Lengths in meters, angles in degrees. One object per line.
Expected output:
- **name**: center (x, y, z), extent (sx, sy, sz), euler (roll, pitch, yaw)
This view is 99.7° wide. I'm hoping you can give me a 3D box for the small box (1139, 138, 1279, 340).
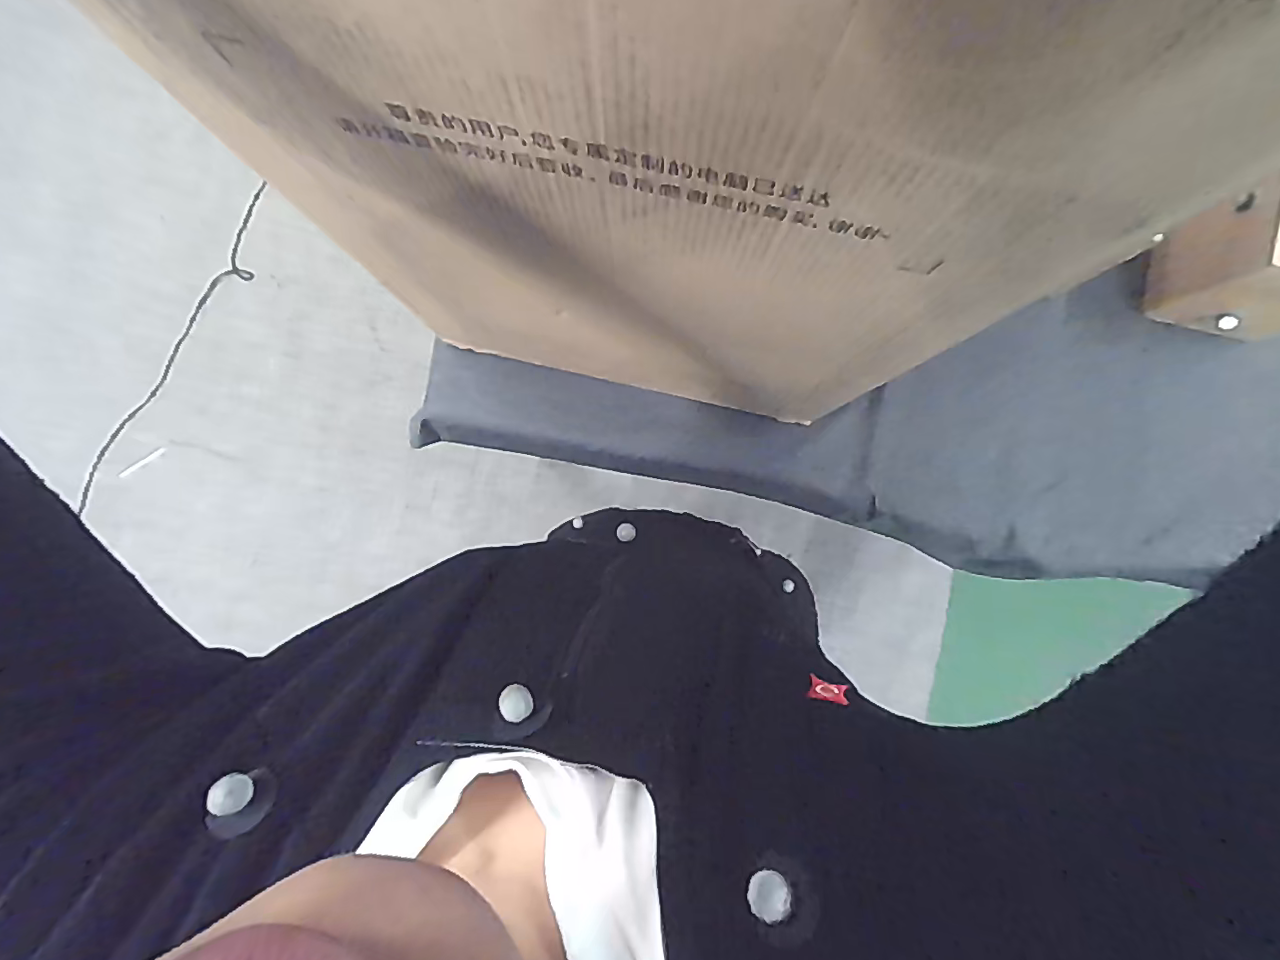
- **small box**: center (0.810, -0.305, 0.701), extent (0.168, 0.176, 0.179), euler (14, 87, 1)
